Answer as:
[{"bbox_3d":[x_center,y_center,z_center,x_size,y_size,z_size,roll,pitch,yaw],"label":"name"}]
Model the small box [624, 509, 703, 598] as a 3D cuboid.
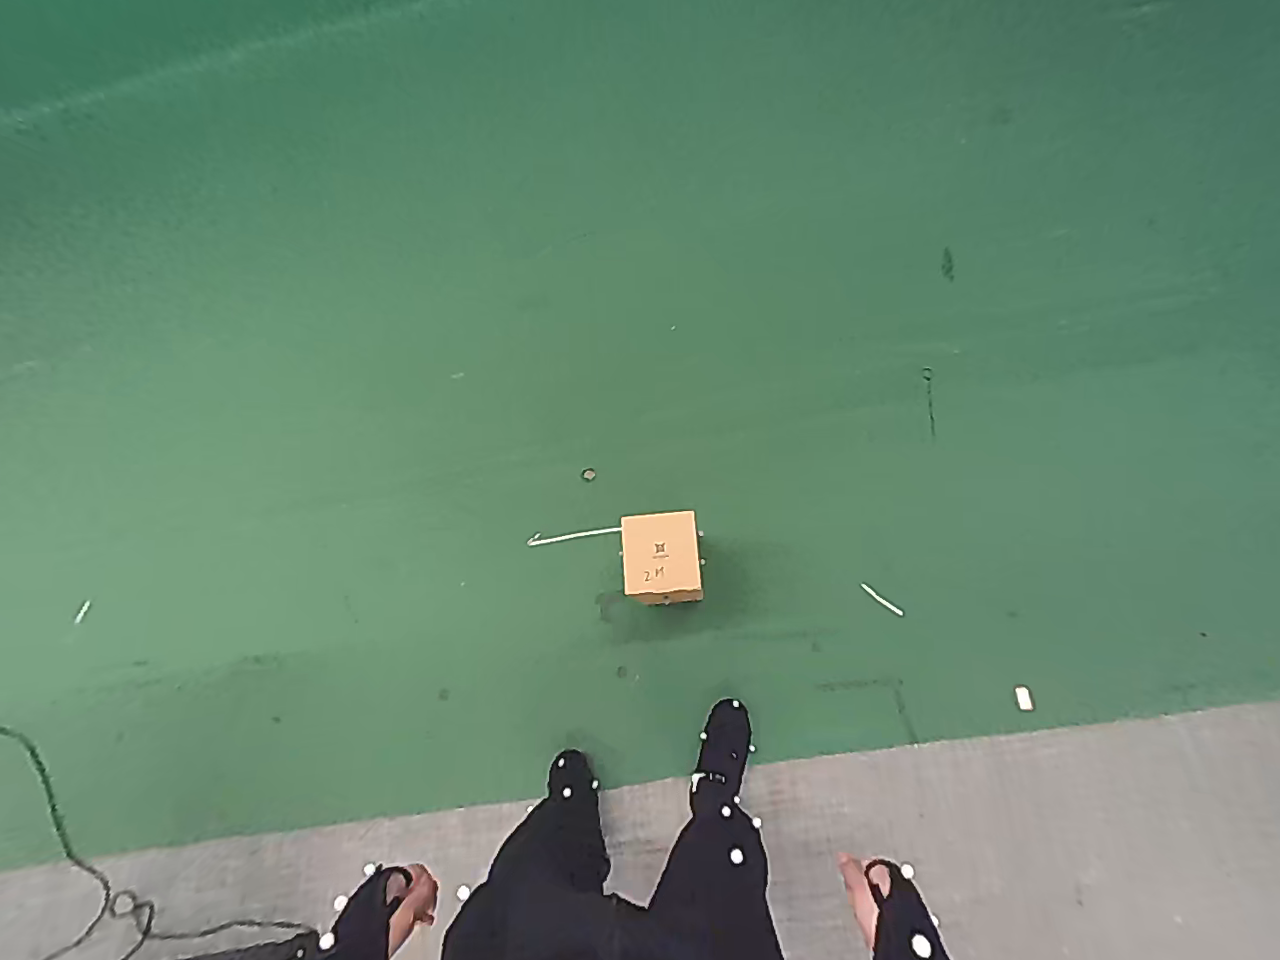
[{"bbox_3d":[0.057,0.175,1.249,0.168,0.176,0.179,-5,74,6],"label":"small box"}]
